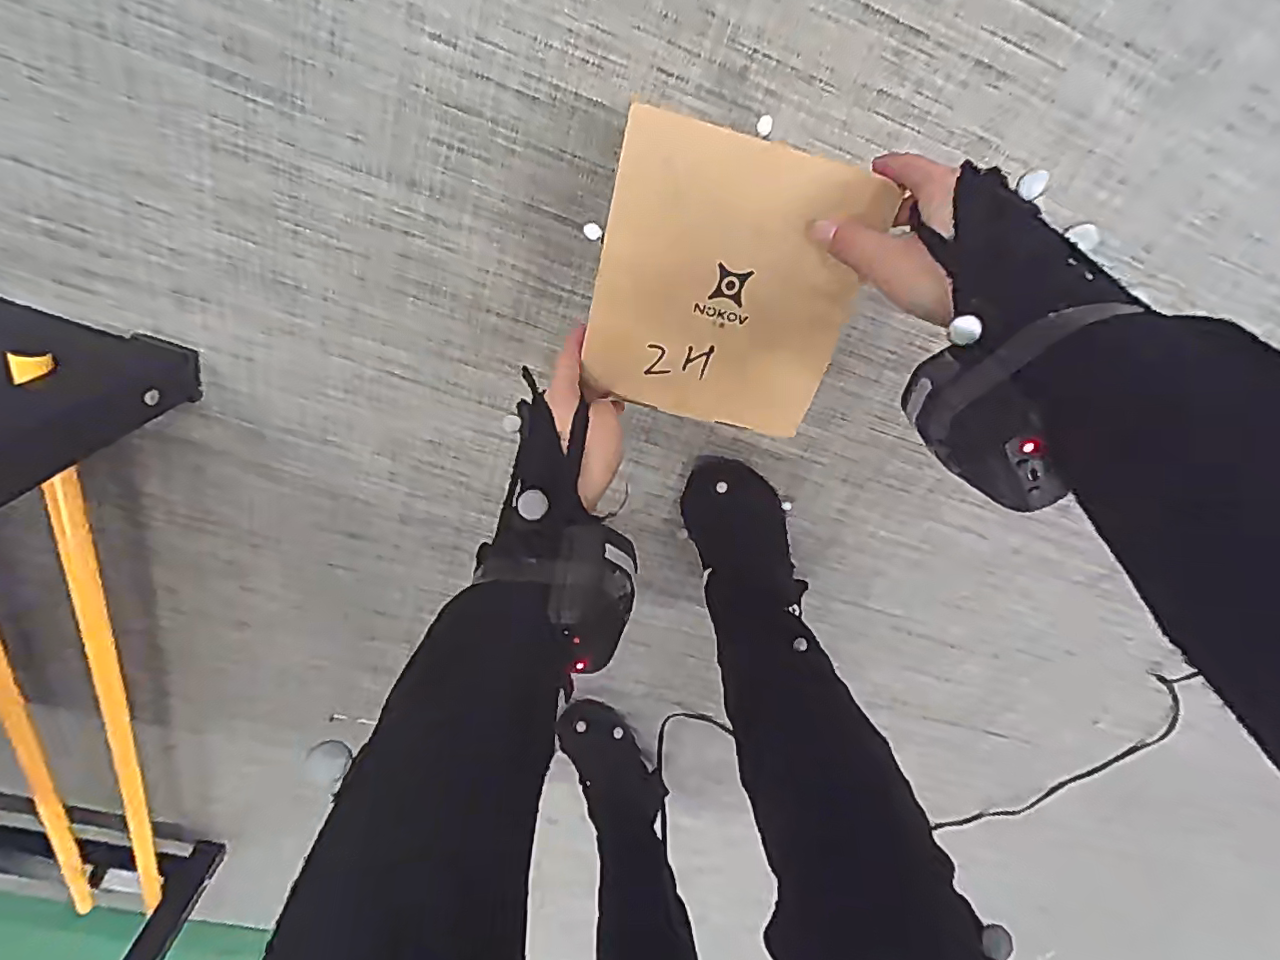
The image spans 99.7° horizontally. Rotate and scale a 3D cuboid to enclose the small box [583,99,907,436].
[{"bbox_3d":[0.059,-0.162,0.415,0.168,0.176,0.179,13,122,-6],"label":"small box"}]
